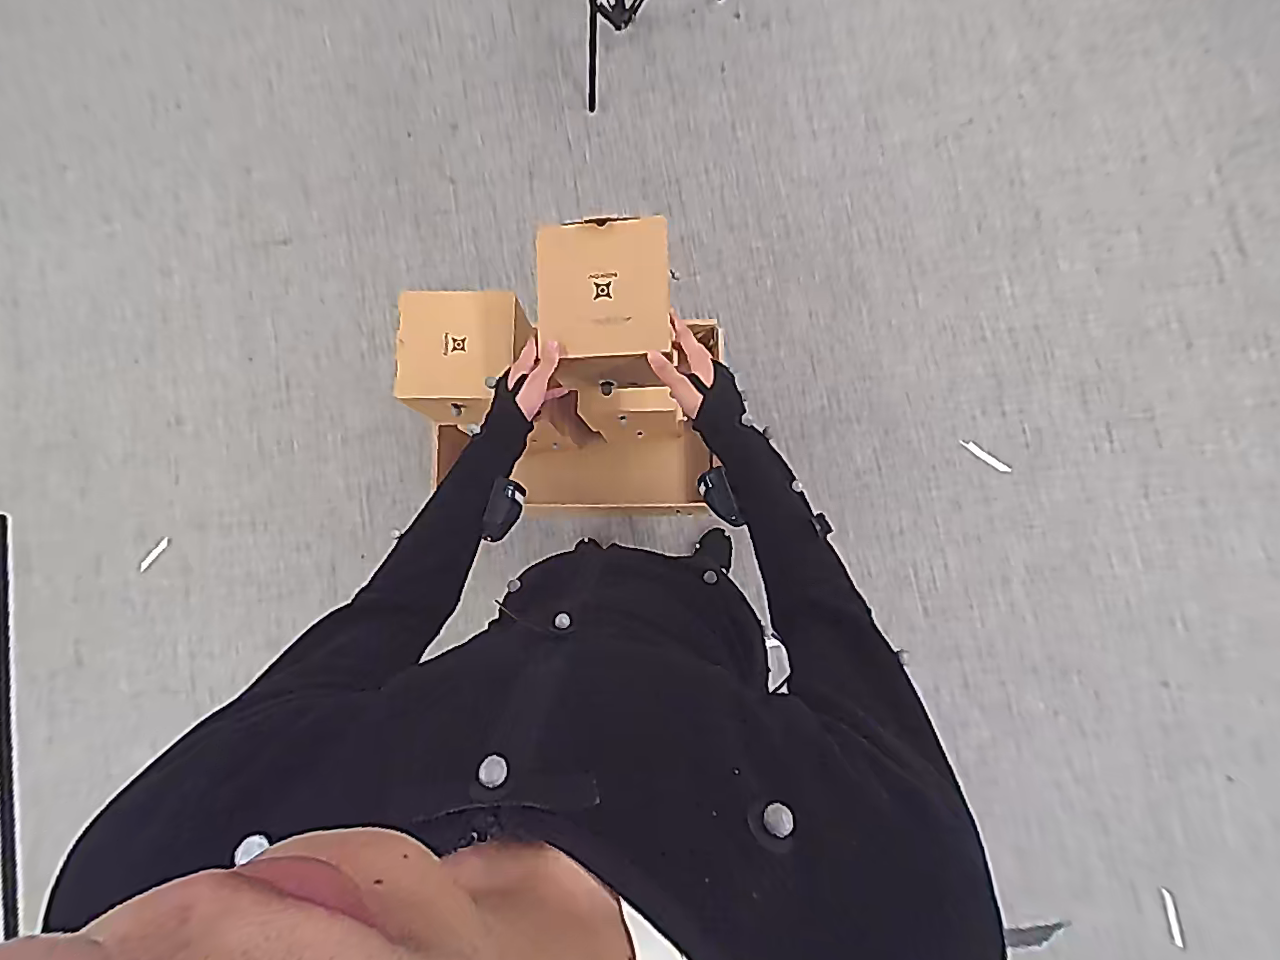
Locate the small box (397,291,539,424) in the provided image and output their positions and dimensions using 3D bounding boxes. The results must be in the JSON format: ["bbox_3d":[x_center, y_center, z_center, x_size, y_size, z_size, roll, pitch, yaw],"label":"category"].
[{"bbox_3d":[-0.263,-0.189,0.869,0.179,0.176,0.168,0,83,2],"label":"small box"}]

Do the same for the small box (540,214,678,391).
[{"bbox_3d":[-0.035,-0.230,0.738,0.168,0.176,0.179,-2,85,6],"label":"small box"}]
